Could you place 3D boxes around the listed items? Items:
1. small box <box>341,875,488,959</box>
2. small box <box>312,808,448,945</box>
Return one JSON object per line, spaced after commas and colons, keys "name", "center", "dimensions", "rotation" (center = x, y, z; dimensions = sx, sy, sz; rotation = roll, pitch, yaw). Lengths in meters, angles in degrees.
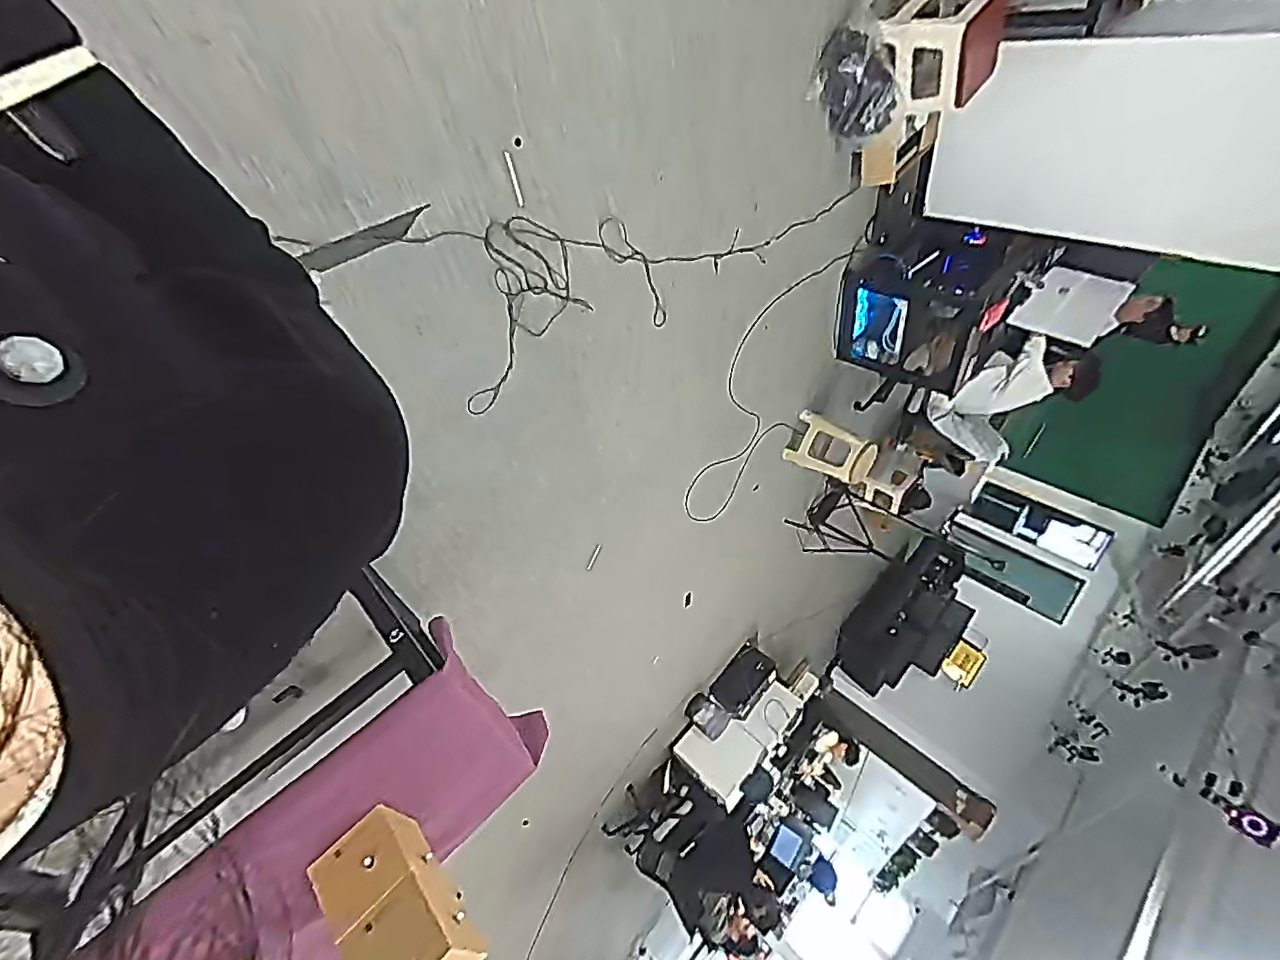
{"name": "small box", "center": [-0.431, 0.907, 1.043], "dimensions": [0.168, 0.176, 0.179], "rotation": [-41, 142, -23]}
{"name": "small box", "center": [-0.545, 0.831, 1.133], "dimensions": [0.168, 0.176, 0.179], "rotation": [-40, 141, -24]}
